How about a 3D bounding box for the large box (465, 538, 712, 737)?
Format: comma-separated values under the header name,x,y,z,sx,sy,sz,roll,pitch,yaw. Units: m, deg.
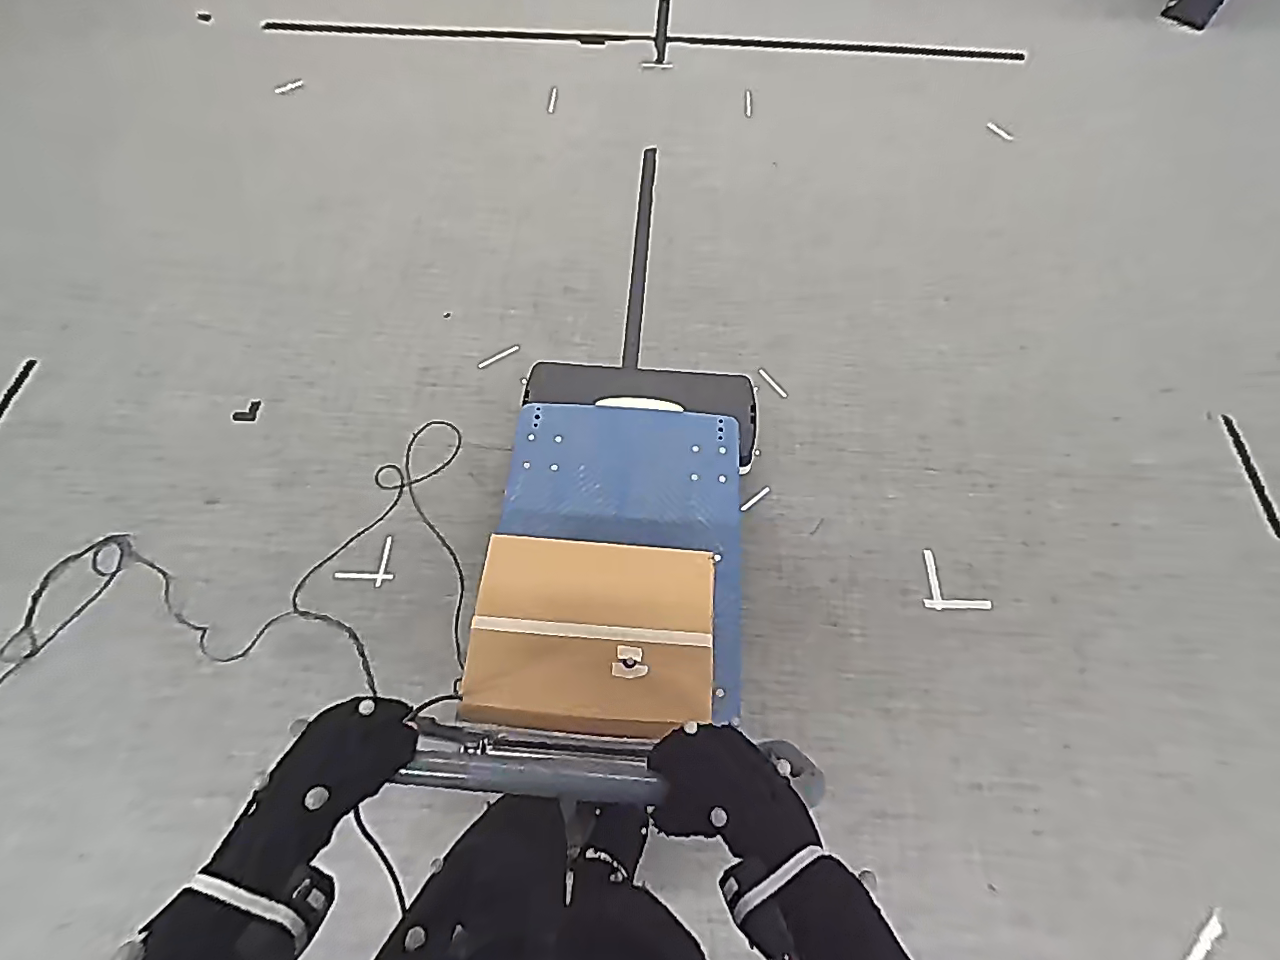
name,x,y,z,sx,sy,sz,roll,pitch,yaw
large box,-0.083,0.322,1.064,0.408,0.320,0.320,5,65,0
